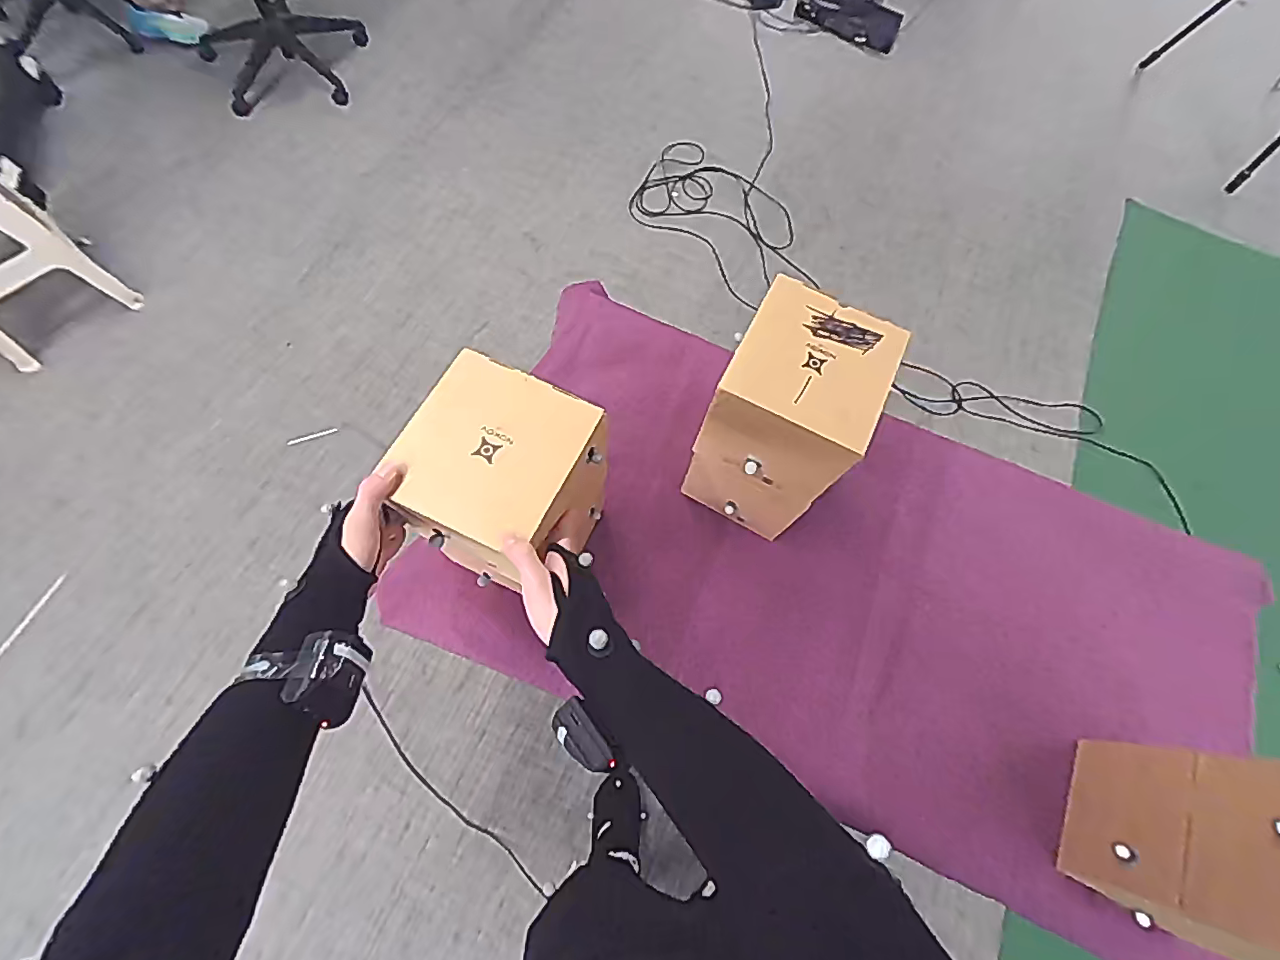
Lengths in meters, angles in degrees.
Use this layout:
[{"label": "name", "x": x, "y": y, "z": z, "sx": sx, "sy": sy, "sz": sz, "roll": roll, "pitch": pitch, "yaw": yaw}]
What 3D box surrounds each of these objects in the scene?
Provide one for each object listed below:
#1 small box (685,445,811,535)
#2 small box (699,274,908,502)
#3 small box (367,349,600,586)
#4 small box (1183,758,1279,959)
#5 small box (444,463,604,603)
[{"label": "small box", "x": 0.181, "y": -0.044, "z": 0.809, "sx": 0.168, "sy": 0.176, "sz": 0.179, "roll": 29, "pitch": 70, "yaw": 7}, {"label": "small box", "x": 0.184, "y": -0.102, "z": 0.655, "sx": 0.168, "sy": 0.176, "sz": 0.179, "roll": 27, "pitch": 70, "yaw": 7}, {"label": "small box", "x": -0.150, "y": -0.003, "z": 0.595, "sx": 0.168, "sy": 0.176, "sz": 0.179, "roll": 24, "pitch": 68, "yaw": 6}, {"label": "small box", "x": 0.664, "y": 0.382, "z": 0.497, "sx": 0.168, "sy": 0.176, "sz": 0.179, "roll": 27, "pitch": 68, "yaw": 8}, {"label": "small box", "x": -0.162, "y": 0.049, "z": 0.748, "sx": 0.168, "sy": 0.176, "sz": 0.179, "roll": 24, "pitch": 69, "yaw": 6}]
